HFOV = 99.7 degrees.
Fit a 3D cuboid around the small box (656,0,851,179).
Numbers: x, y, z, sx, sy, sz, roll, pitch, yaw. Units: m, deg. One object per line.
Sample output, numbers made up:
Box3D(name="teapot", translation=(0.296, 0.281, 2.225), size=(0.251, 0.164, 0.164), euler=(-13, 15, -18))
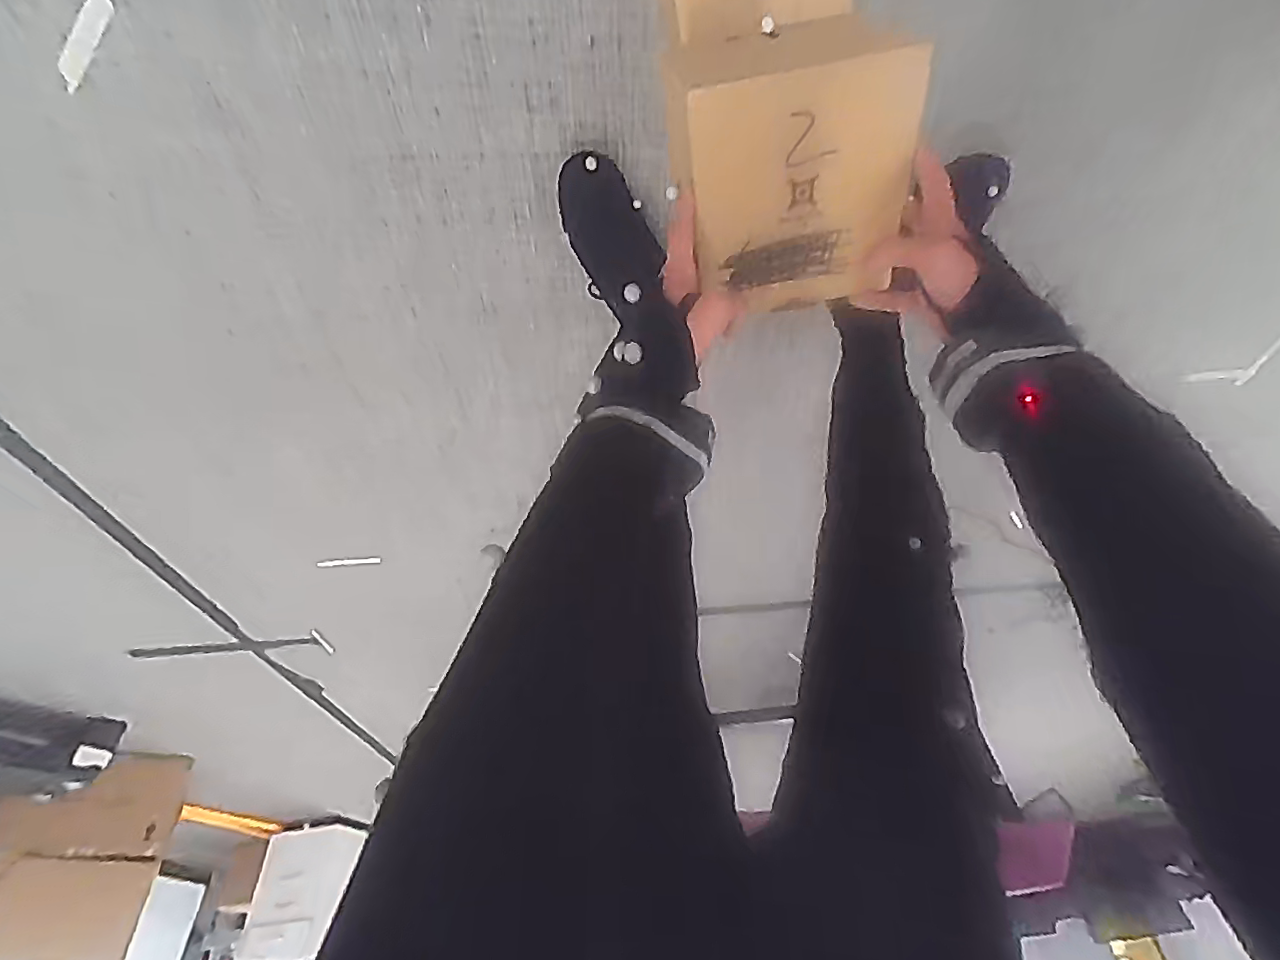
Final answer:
Box3D(name="small box", translation=(0.118, -0.471, 0.592), size=(0.168, 0.176, 0.179), euler=(-13, 138, 7))
